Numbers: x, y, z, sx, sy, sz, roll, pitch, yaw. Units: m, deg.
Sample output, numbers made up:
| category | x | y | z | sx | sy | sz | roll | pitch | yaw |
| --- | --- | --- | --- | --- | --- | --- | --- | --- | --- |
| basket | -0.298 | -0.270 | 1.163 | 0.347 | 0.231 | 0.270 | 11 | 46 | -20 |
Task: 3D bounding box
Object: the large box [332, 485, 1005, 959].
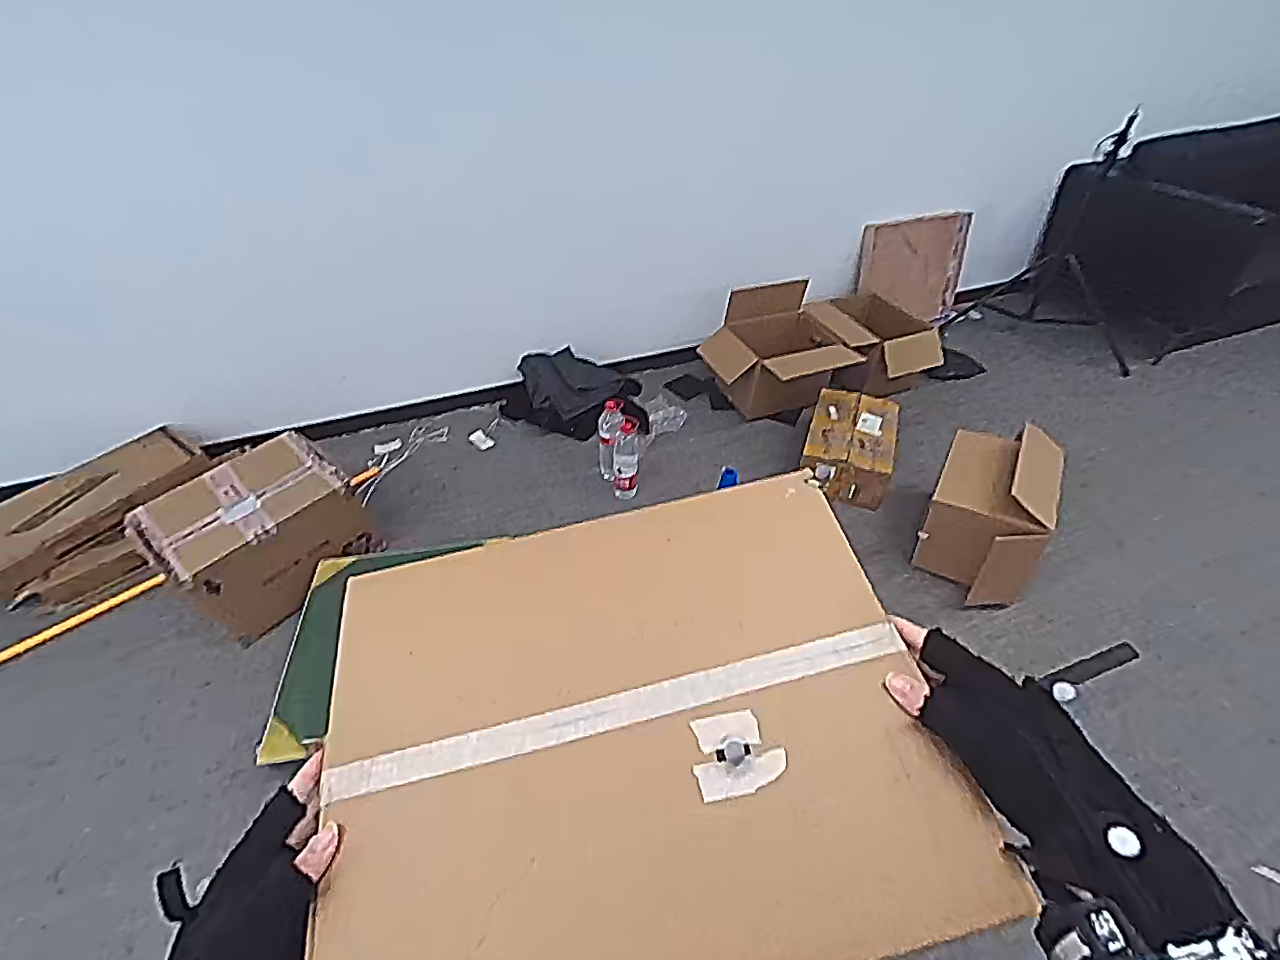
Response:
| category | x | y | z | sx | sy | sz | roll | pitch | yaw |
| --- | --- | --- | --- | --- | --- | --- | --- | --- | --- |
| large box | 0.001 | 0.255 | 0.507 | 0.408 | 0.320 | 0.320 | -13 | 54 | -4 |
